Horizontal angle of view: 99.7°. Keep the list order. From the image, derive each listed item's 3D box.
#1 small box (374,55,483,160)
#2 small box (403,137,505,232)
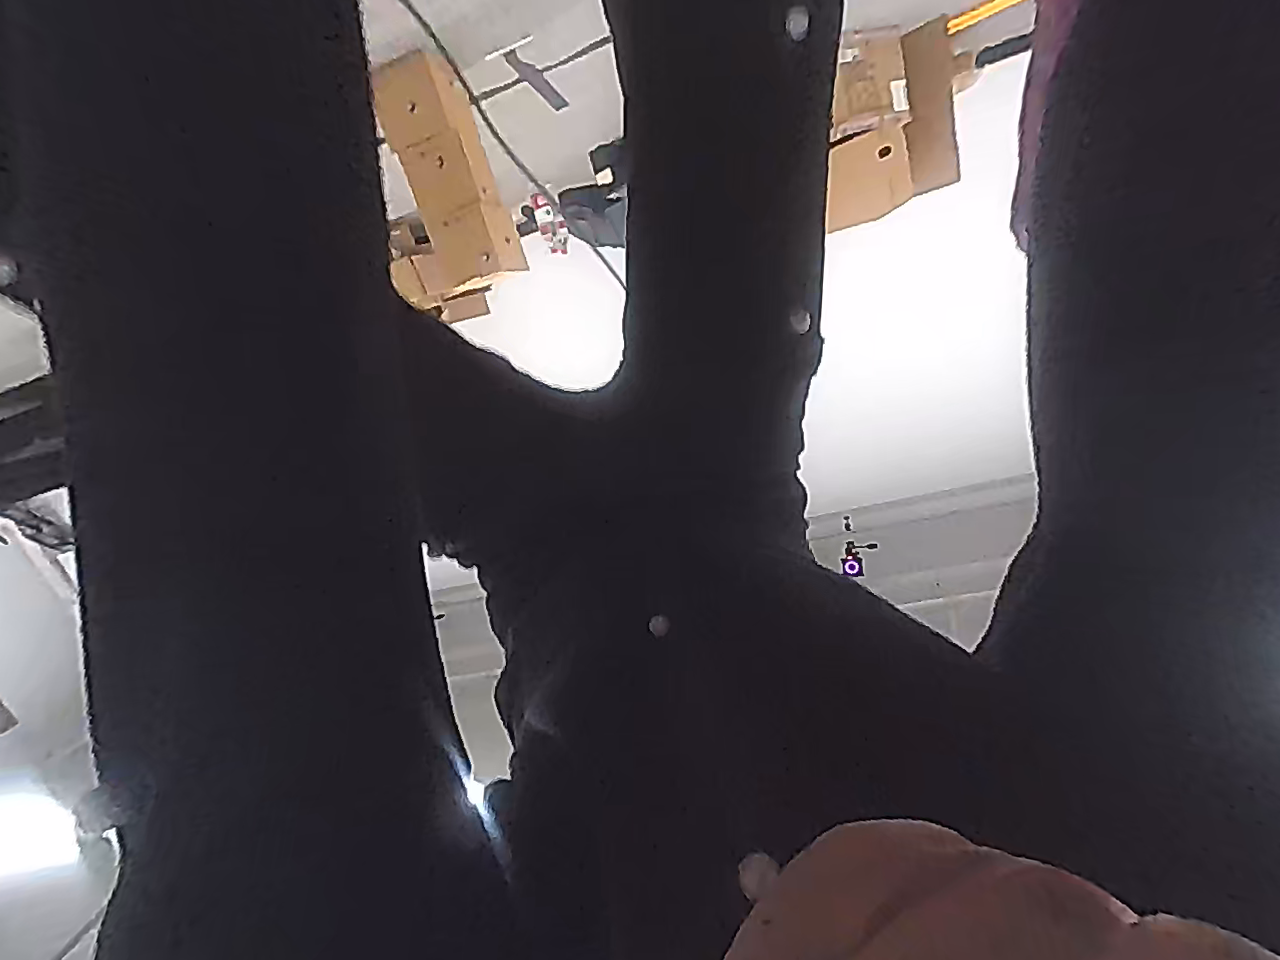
[{"bbox_3d":[-0.530,-0.908,1.347,0.179,0.176,0.168,-13,-162,16],"label":"small box"},{"bbox_3d":[-0.479,-0.765,1.407,0.168,0.176,0.179,-13,-162,12],"label":"small box"}]
